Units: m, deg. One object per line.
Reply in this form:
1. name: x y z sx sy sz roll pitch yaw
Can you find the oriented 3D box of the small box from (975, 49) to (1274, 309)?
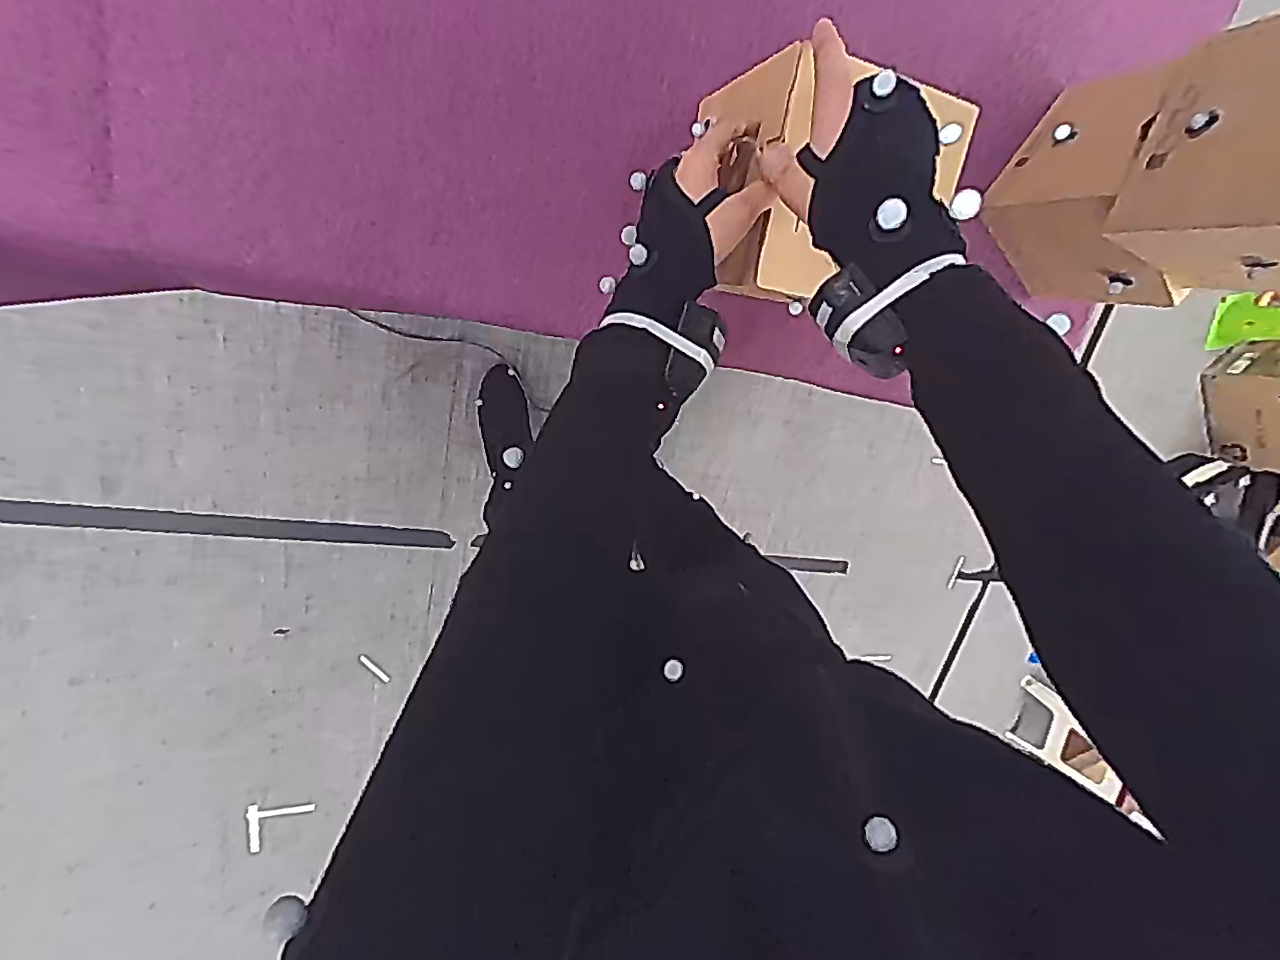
1. small box: 0.534 -0.321 0.612 0.179 0.176 0.168 33 97 -28
